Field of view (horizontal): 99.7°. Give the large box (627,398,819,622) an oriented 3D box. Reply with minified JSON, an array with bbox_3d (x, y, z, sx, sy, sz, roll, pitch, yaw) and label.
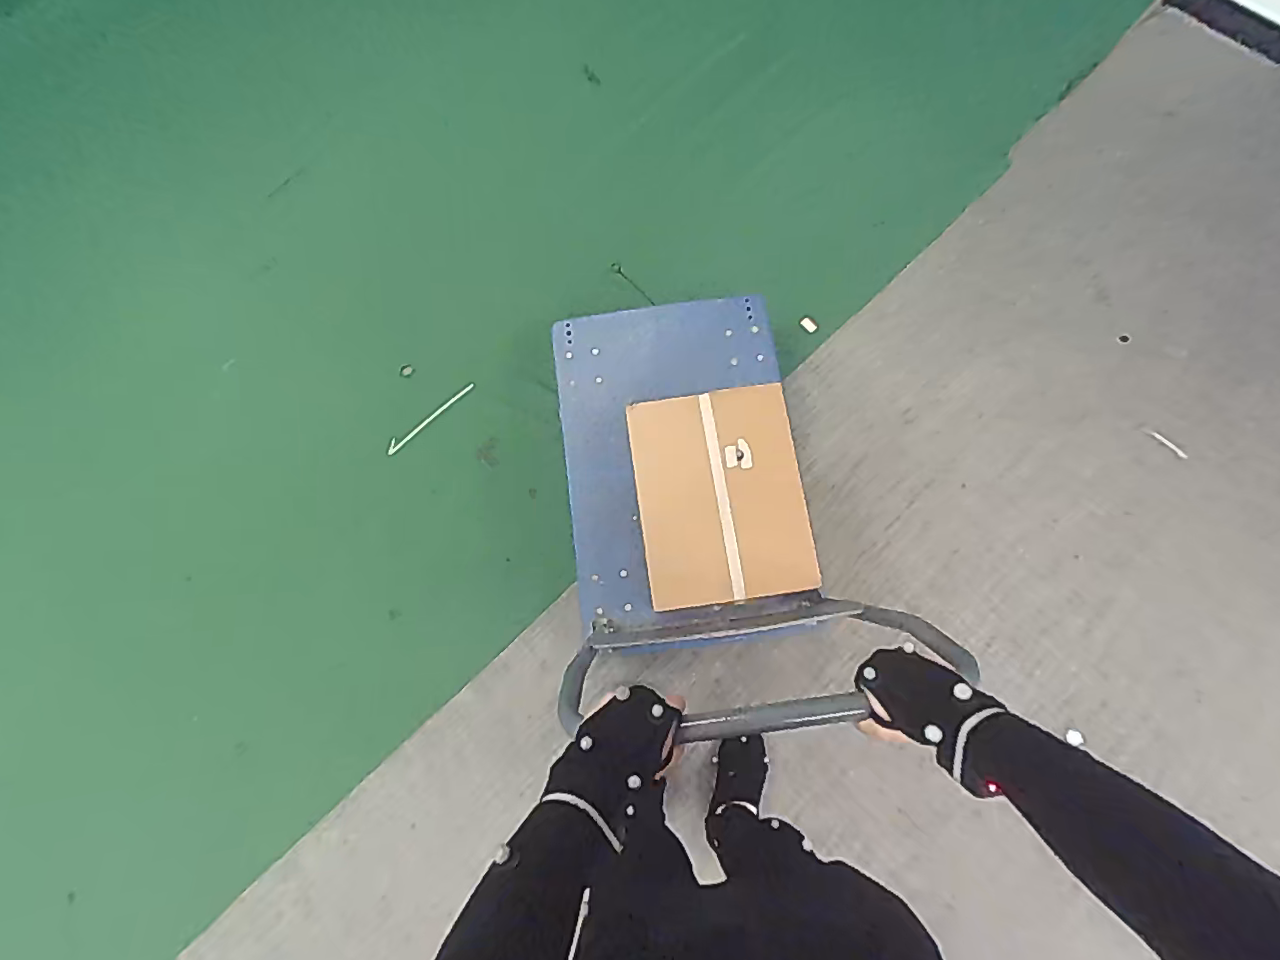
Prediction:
[{"bbox_3d":[0.159,0.081,1.187,0.320,0.320,0.408,-8,77,-1],"label":"large box"}]
